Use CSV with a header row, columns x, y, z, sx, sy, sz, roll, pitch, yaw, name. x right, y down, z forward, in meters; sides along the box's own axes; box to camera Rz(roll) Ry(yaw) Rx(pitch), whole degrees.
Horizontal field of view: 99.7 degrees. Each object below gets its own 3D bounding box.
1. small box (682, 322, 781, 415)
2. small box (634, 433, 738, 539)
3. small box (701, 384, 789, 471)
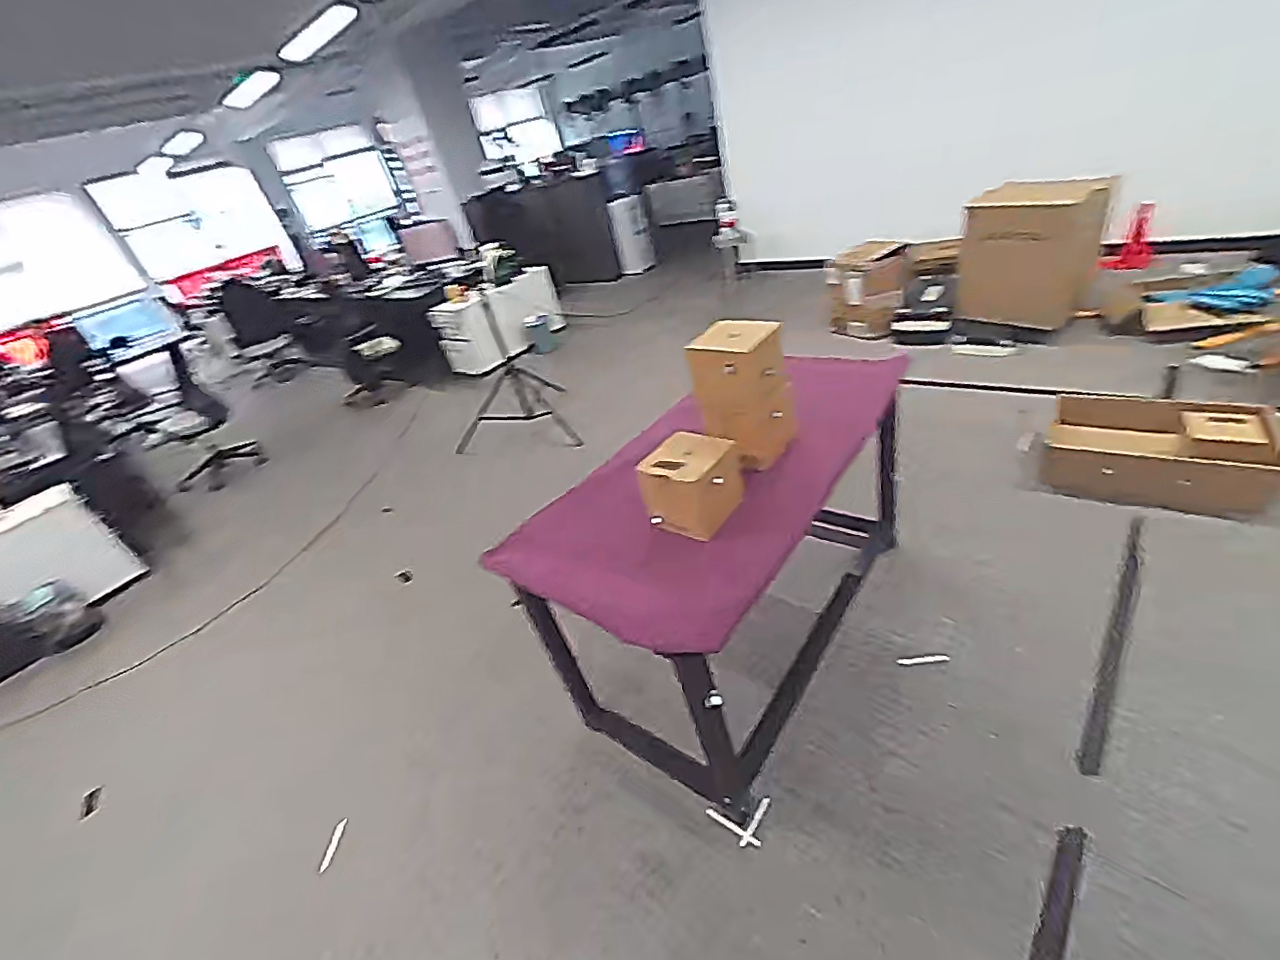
x,y,z,sx,sy,sz,roll,pitch,yaw,name
0.235,-0.279,1.349,0.179,0.176,0.168,15,45,39,small box
0.117,0.012,1.273,0.168,0.176,0.179,15,44,38,small box
0.285,-0.149,1.438,0.168,0.176,0.179,15,45,39,small box
